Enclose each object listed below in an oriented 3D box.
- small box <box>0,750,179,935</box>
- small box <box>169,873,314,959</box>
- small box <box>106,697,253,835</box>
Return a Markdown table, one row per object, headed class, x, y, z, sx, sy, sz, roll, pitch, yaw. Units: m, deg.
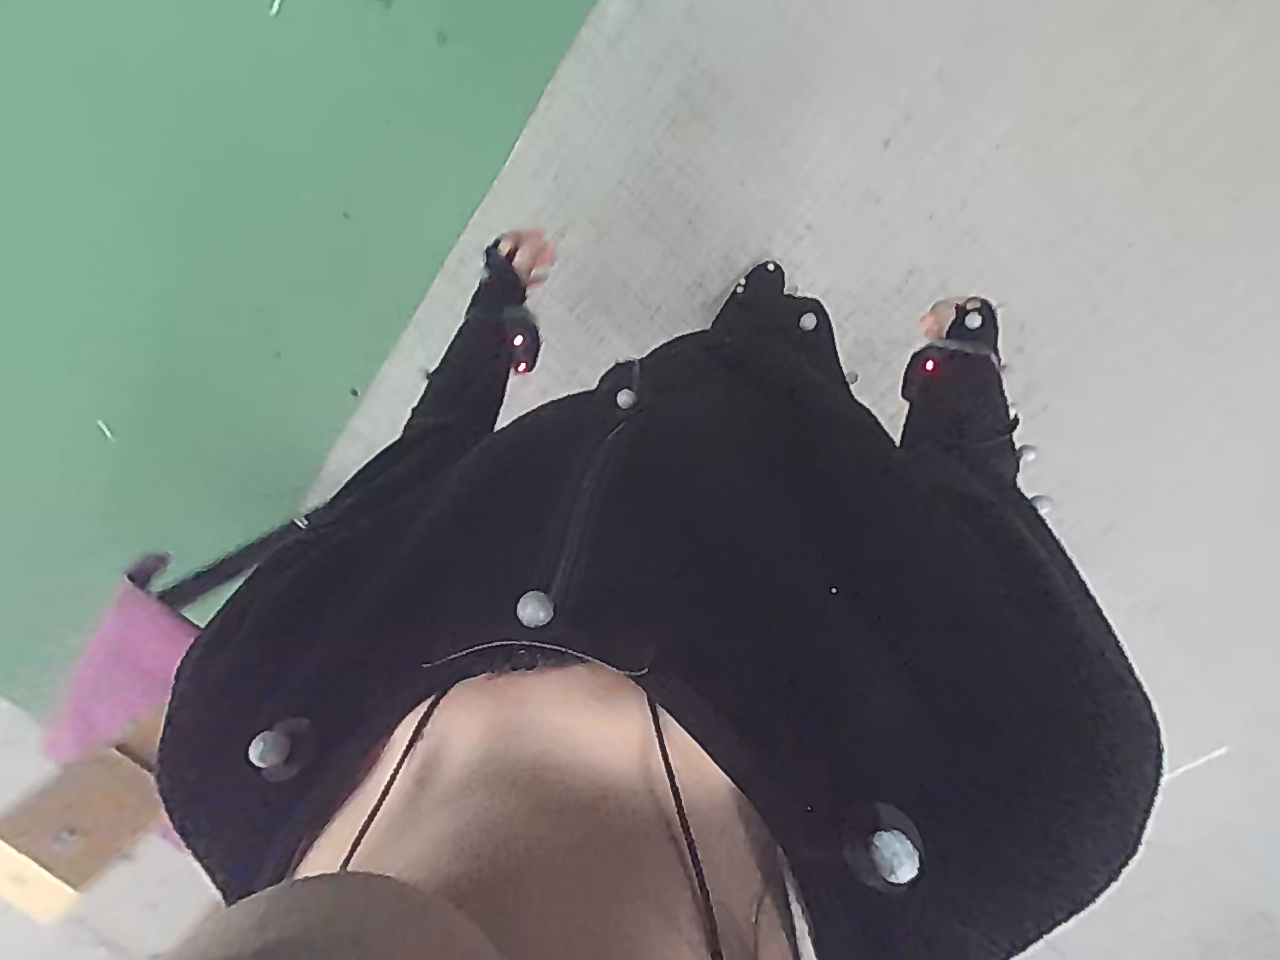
| class | x | y | z | sx | sy | sz | roll | pitch | yaw |
| --- | --- | --- | --- | --- | --- | --- | --- | --- | --- |
| small box | -0.936 | 0.597 | 0.903 | 0.179 | 0.176 | 0.168 | 44 | 112 | -8 |
| small box | -0.722 | 0.849 | 0.952 | 0.168 | 0.176 | 0.179 | 42 | 112 | -6 |
| small box | -0.927 | 0.559 | 1.064 | 0.168 | 0.176 | 0.179 | -36 | 101 | 21 |
